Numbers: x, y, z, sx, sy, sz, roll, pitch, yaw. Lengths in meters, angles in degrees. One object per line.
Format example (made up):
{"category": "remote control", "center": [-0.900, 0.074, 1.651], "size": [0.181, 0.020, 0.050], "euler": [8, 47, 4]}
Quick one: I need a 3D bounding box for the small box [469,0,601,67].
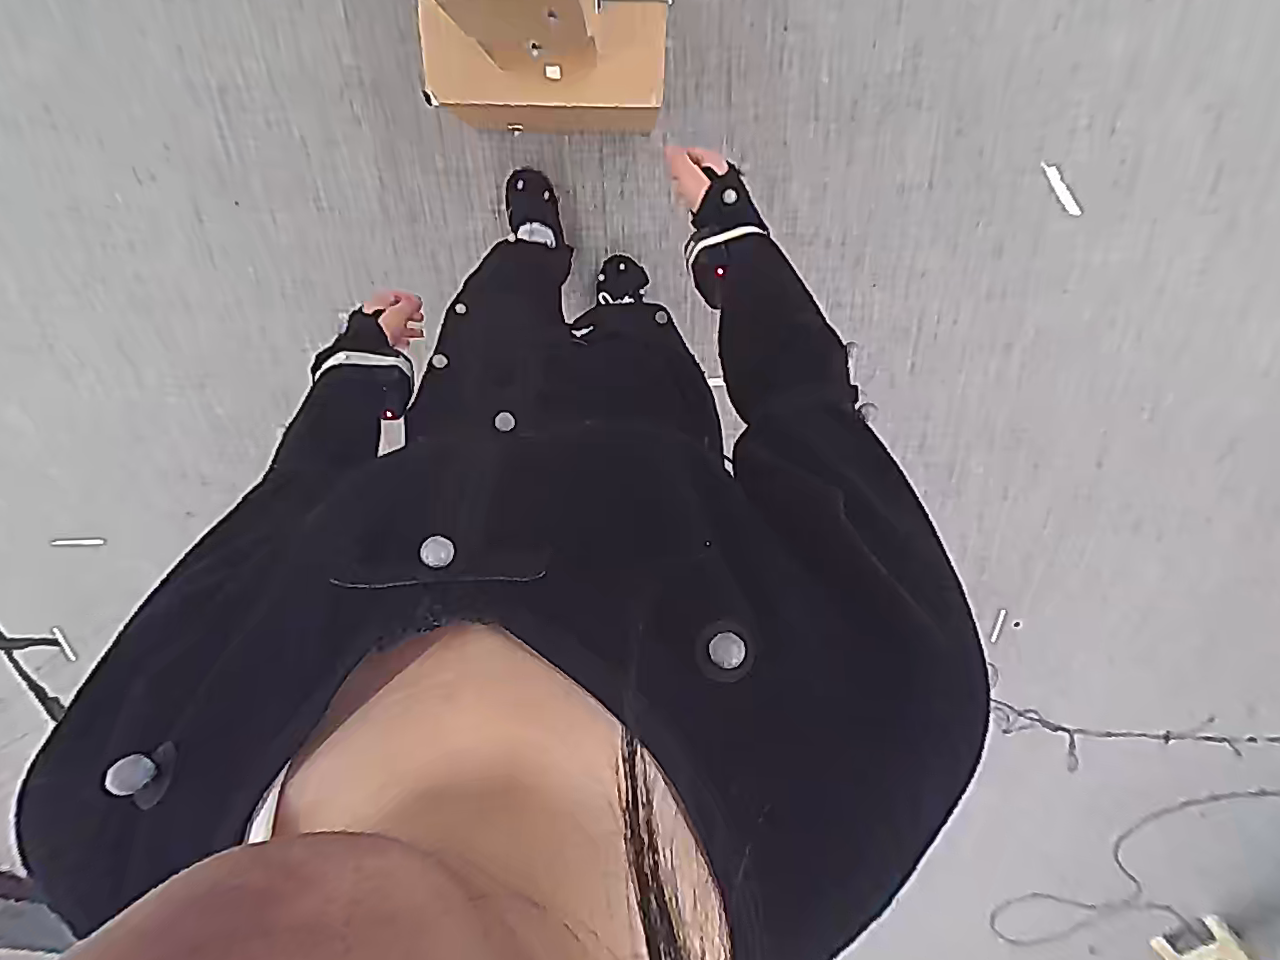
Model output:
{"category": "small box", "center": [-0.152, -0.731, 0.799], "size": [0.179, 0.176, 0.168], "euler": [-2, 117, -1]}
